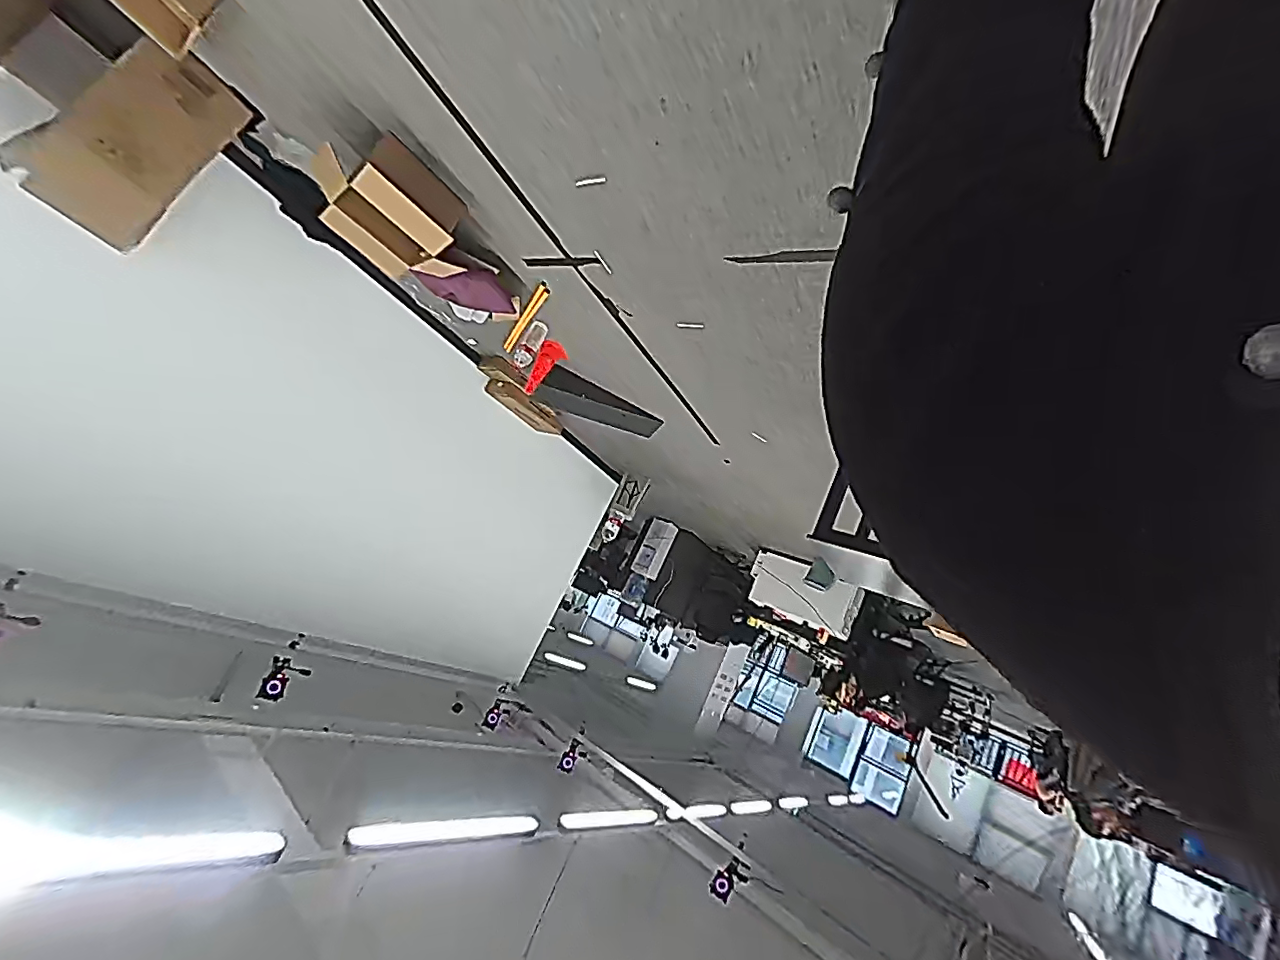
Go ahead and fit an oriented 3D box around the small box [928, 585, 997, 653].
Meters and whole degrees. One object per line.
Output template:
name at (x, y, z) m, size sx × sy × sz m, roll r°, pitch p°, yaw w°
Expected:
small box at (1.162, 0.495, 1.940) m, size 0.179 × 0.176 × 0.168 m, roll 13°, pitch 162°, yaw 42°
